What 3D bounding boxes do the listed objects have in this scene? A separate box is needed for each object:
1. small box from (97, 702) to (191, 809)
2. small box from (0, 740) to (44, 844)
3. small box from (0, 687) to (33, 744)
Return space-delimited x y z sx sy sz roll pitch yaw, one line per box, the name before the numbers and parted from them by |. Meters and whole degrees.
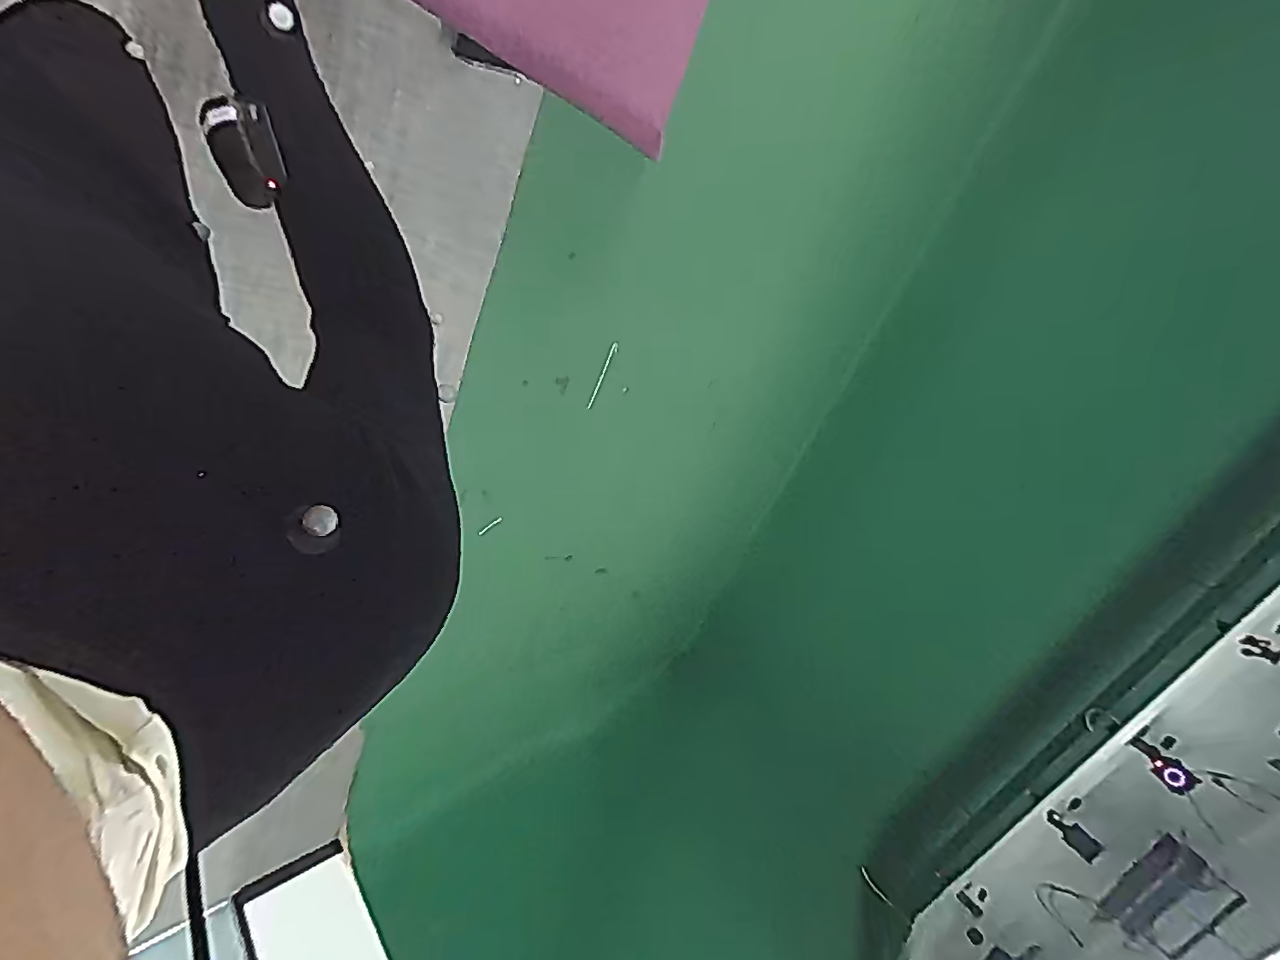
small box | -1.377 0.754 1.498 0.168 0.176 0.179 3 121 -52
small box | -1.547 0.746 1.271 0.168 0.176 0.179 3 121 -54
small box | -1.657 0.658 1.354 0.168 0.176 0.179 0 122 -53
